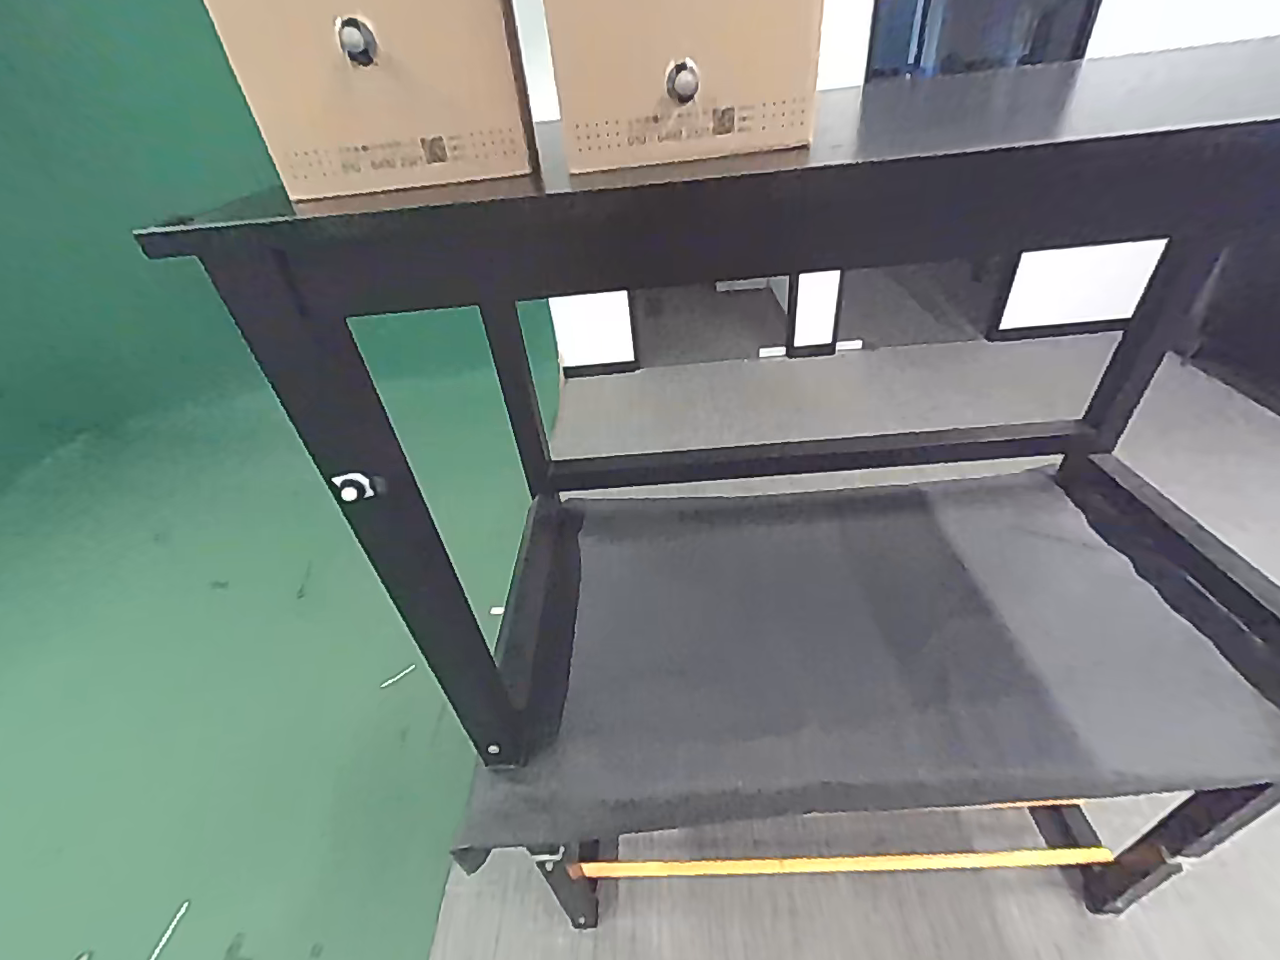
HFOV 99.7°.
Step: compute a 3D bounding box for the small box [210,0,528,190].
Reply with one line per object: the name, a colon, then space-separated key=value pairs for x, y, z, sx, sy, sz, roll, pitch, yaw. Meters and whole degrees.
small box: x=-0.183 y=-0.324 z=0.404 sx=0.168 sy=0.176 sz=0.179 roll=-7 pitch=36 yaw=-3
